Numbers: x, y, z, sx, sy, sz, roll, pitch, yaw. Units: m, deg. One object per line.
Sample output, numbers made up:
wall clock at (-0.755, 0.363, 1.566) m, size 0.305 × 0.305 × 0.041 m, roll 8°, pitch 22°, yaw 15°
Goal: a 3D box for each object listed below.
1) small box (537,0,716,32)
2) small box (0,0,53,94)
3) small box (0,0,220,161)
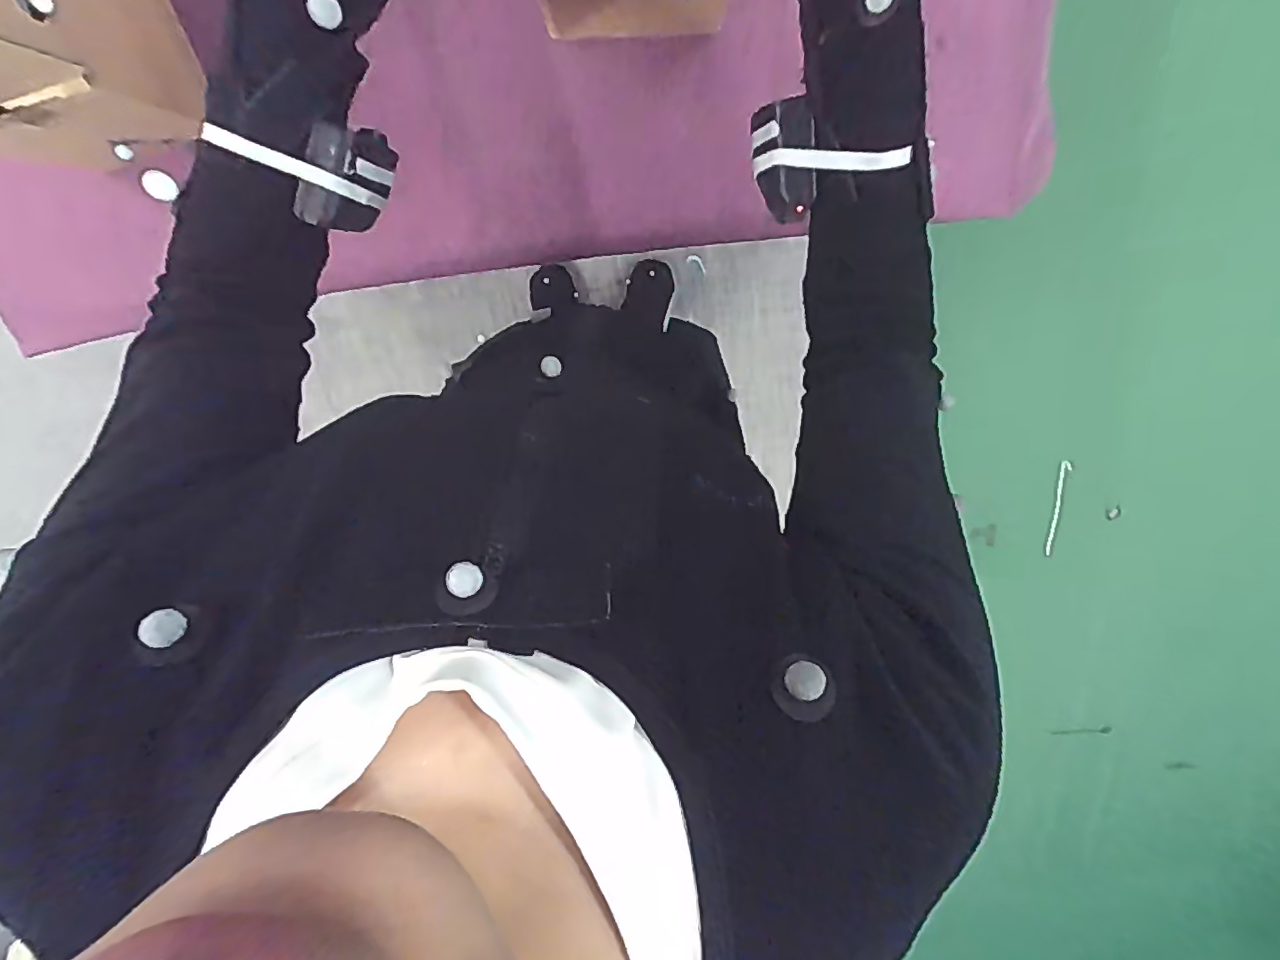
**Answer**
small box at (-0.013, -0.501, 0.447) m, size 0.179 × 0.176 × 0.168 m, roll -2°, pitch 114°, yaw 0°
small box at (-0.533, -0.347, 0.324) m, size 0.179 × 0.176 × 0.168 m, roll -11°, pitch 111°, yaw 4°
small box at (-0.541, -0.410, 0.479) m, size 0.168 × 0.176 × 0.179 m, roll -13°, pitch 113°, yaw 5°
